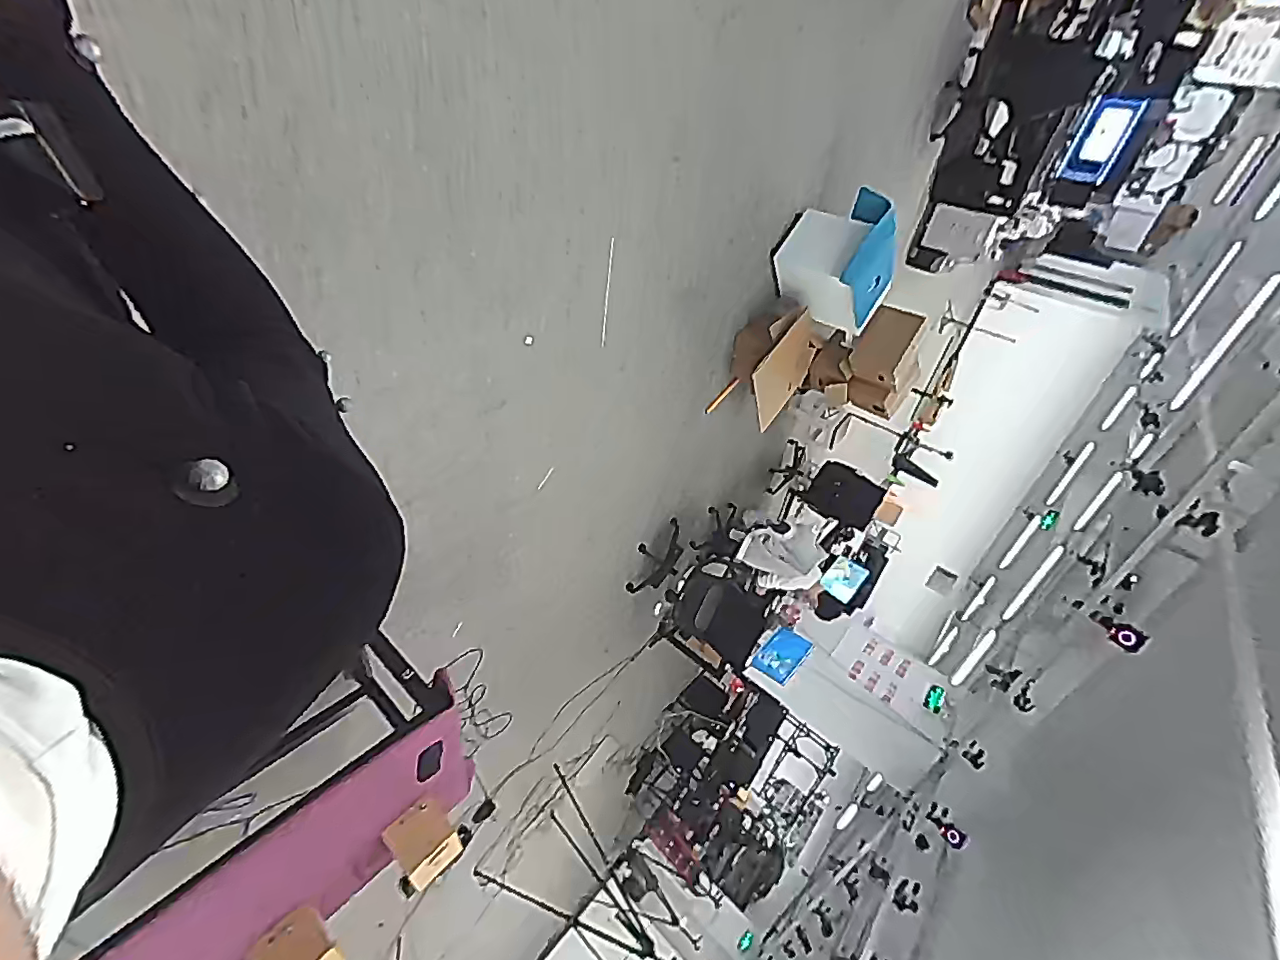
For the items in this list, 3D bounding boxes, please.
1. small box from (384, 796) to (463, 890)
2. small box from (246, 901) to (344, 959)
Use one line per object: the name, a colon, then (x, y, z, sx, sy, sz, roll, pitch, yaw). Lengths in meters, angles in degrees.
small box: (-0.702, 1.168, 1.751, 0.168, 0.176, 0.179, -33, 144, -38)
small box: (-0.960, 1.337, 1.514, 0.168, 0.176, 0.179, -32, 141, -41)
